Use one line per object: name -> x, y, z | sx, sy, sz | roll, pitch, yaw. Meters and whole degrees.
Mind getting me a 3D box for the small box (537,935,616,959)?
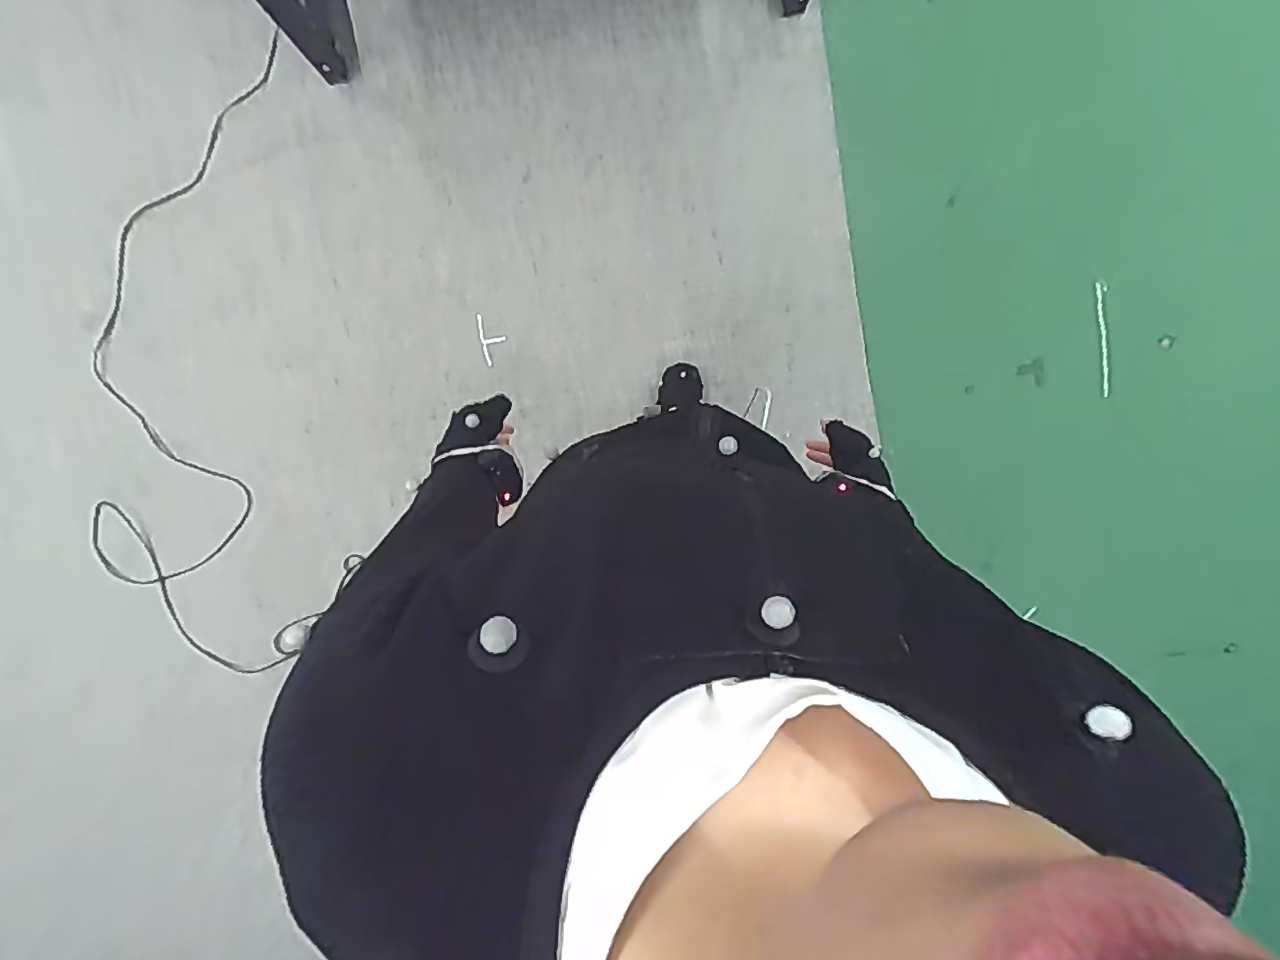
small box -> -0.131, 1.111, 1.142 | 0.168, 0.176, 0.179 | -12, 98, -2
